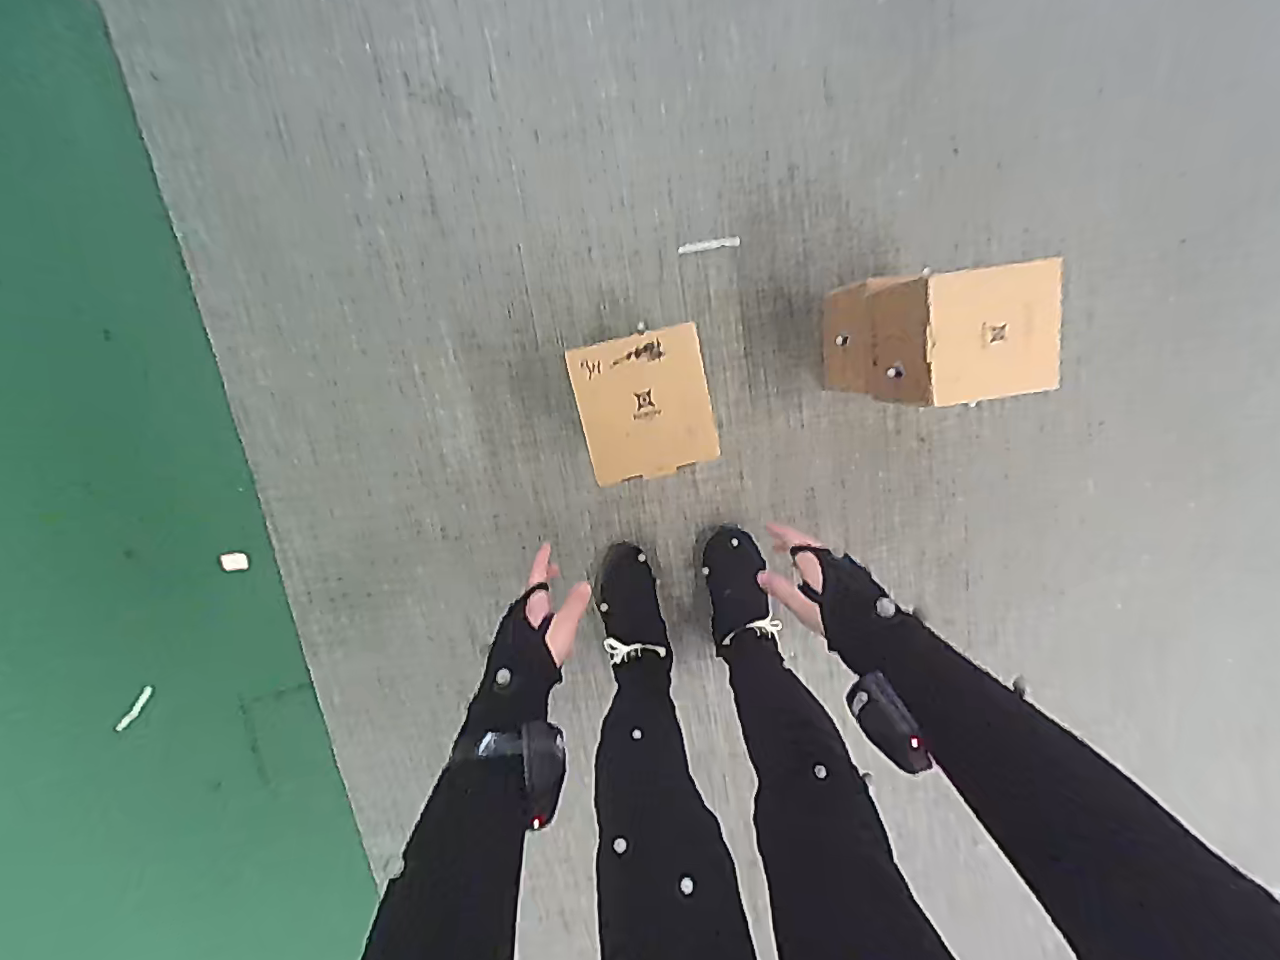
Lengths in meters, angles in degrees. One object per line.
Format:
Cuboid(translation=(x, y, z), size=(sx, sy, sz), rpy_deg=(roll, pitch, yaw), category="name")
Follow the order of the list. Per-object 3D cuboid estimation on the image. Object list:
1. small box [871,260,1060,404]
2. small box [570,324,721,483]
Cuboid(translation=(0.446, -0.203, 0.769), size=(0.179, 0.176, 0.168), rpy_deg=(-8, 102, -3), category="small box")
Cuboid(translation=(0.005, -0.112, 0.757), size=(0.168, 0.176, 0.179), rpy_deg=(-13, 103, -2), category="small box")
